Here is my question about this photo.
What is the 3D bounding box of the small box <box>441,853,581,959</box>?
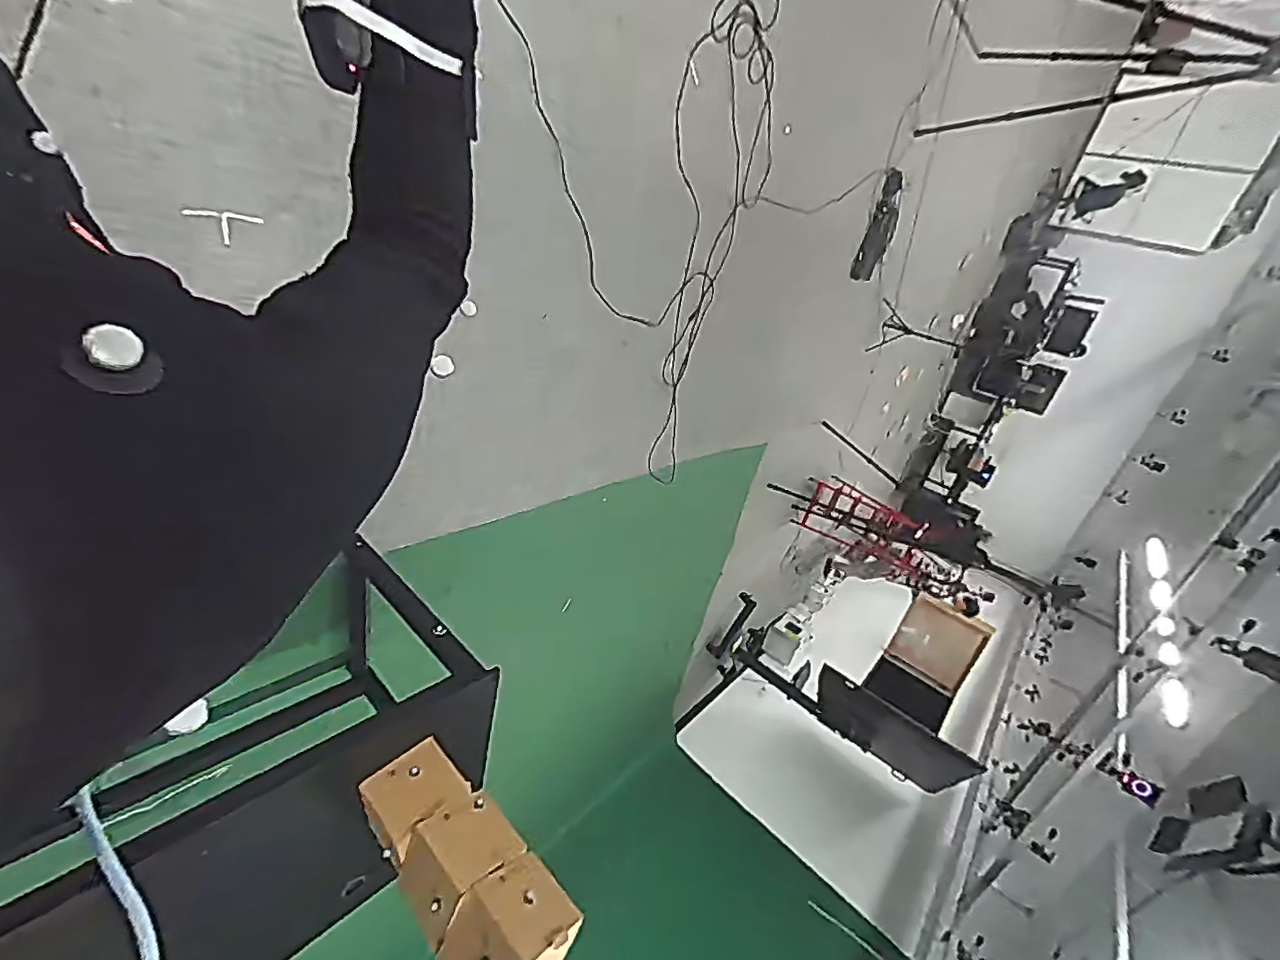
[{"bbox_3d":[-0.253,0.870,1.047,0.168,0.176,0.179,19,100,-57],"label":"small box"}]

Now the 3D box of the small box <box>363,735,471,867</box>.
[{"bbox_3d":[-0.494,0.719,1.212,0.168,0.176,0.179,-25,135,-41],"label":"small box"}]

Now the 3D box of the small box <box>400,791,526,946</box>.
[{"bbox_3d":[-0.373,0.791,1.129,0.168,0.176,0.179,1,116,-54],"label":"small box"}]
